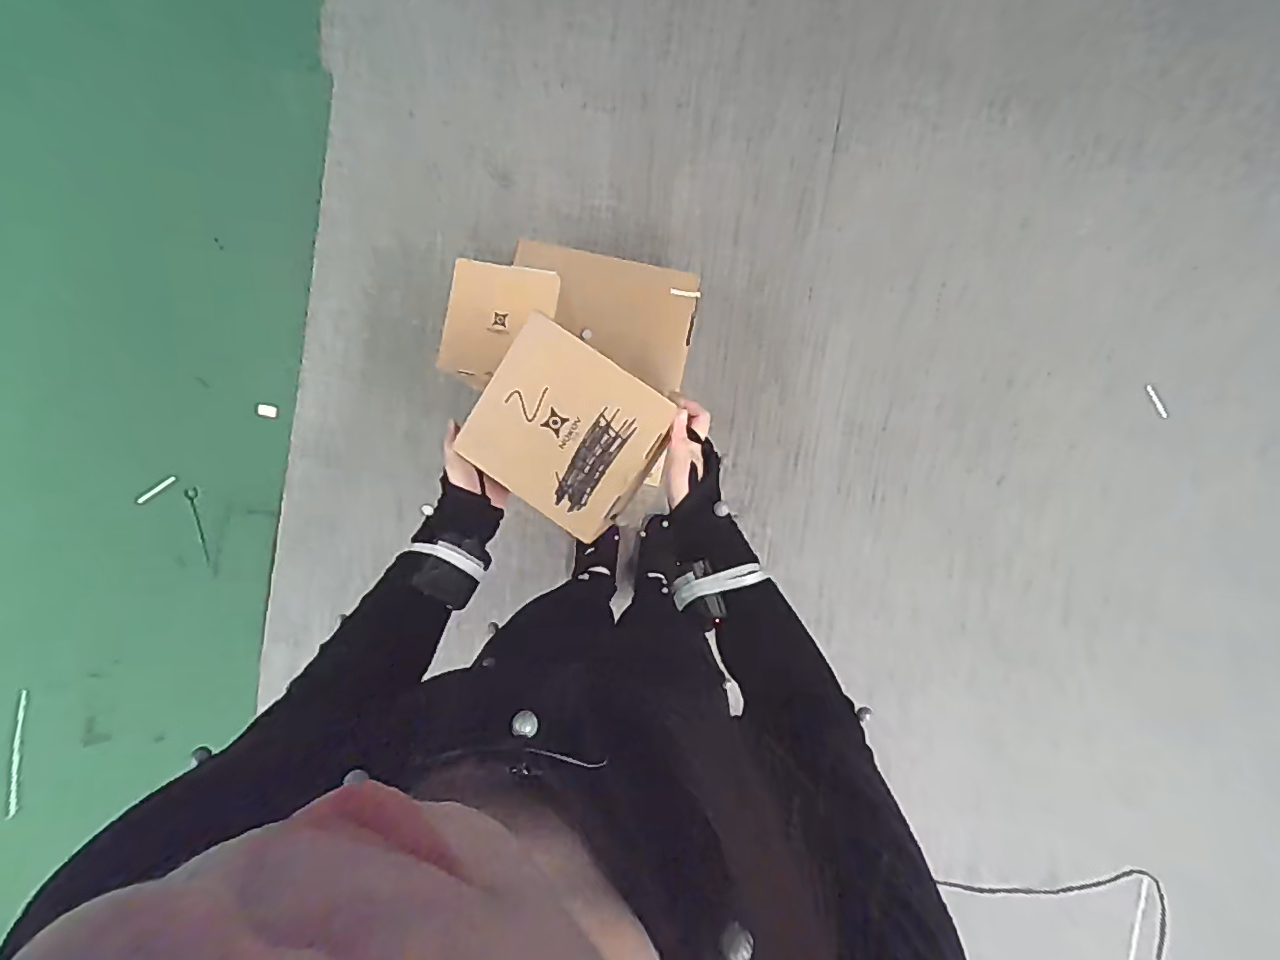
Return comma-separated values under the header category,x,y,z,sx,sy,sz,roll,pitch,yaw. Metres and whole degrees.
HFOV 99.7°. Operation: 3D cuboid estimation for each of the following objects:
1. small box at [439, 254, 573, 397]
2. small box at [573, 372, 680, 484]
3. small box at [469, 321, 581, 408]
category,x,y,z,sx,sy,sz,roll,pitch,yaw
small box,-0.212,-0.246,0.904,0.168,0.176,0.179,12,93,0
small box,-0.026,-0.095,1.069,0.168,0.176,0.179,14,90,-1
small box,-0.218,-0.247,1.068,0.168,0.176,0.179,12,90,0
